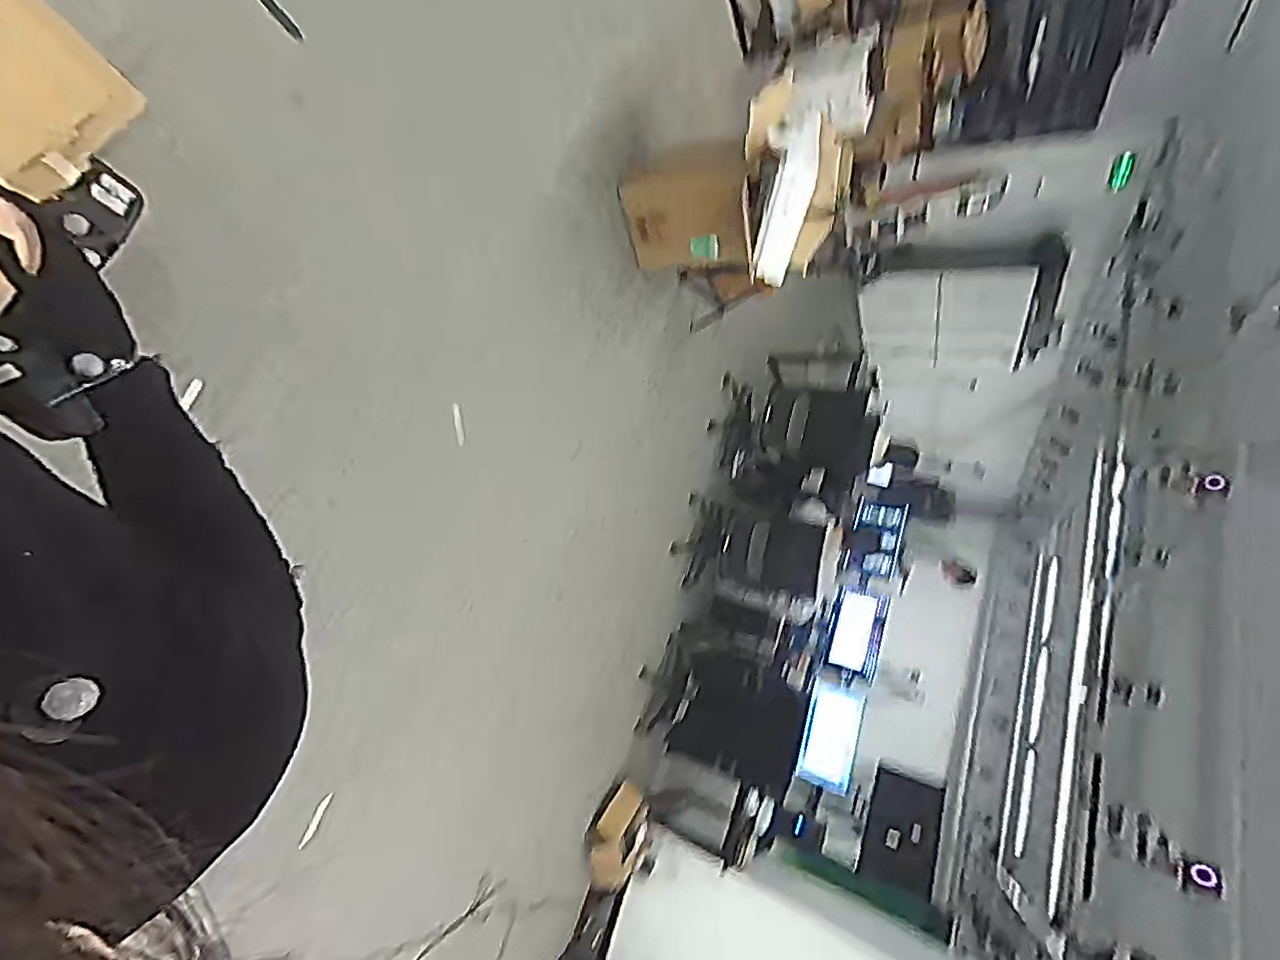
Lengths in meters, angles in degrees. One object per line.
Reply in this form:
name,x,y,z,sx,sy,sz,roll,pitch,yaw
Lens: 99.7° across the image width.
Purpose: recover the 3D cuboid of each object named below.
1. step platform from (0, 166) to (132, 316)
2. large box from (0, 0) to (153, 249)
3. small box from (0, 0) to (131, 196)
step platform,-1.150,-0.560,0.732,0.286,0.204,0.684,-65,145,-23
large box,-0.937,-0.514,0.631,0.408,0.320,0.320,51,55,-50
small box,-0.707,-0.419,0.560,0.168,0.176,0.179,-64,145,-23
